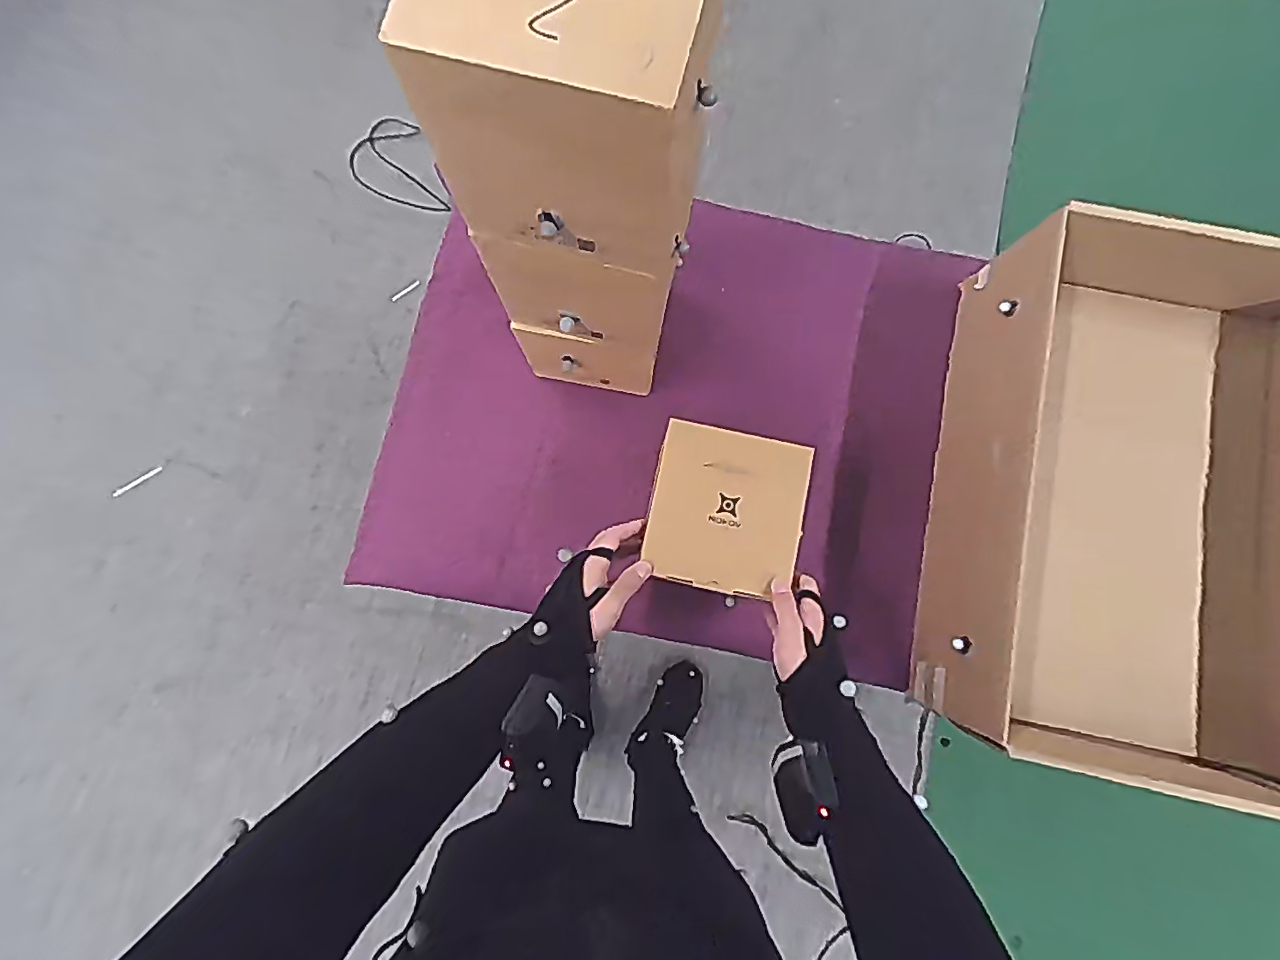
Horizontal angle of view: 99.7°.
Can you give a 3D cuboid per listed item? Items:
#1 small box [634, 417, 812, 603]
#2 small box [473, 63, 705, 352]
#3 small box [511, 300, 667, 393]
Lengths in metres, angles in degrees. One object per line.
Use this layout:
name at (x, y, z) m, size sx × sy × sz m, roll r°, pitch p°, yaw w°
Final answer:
small box at (0.092, 0.044, 0.663) m, size 0.168 × 0.176 × 0.179 m, roll 13°, pitch 80°, yaw 1°
small box at (-0.044, -0.257, 0.546) m, size 0.168 × 0.176 × 0.179 m, roll 15°, pitch 81°, yaw 2°
small box at (-0.053, -0.228, 0.707) m, size 0.168 × 0.176 × 0.179 m, roll 11°, pitch 80°, yaw 1°
